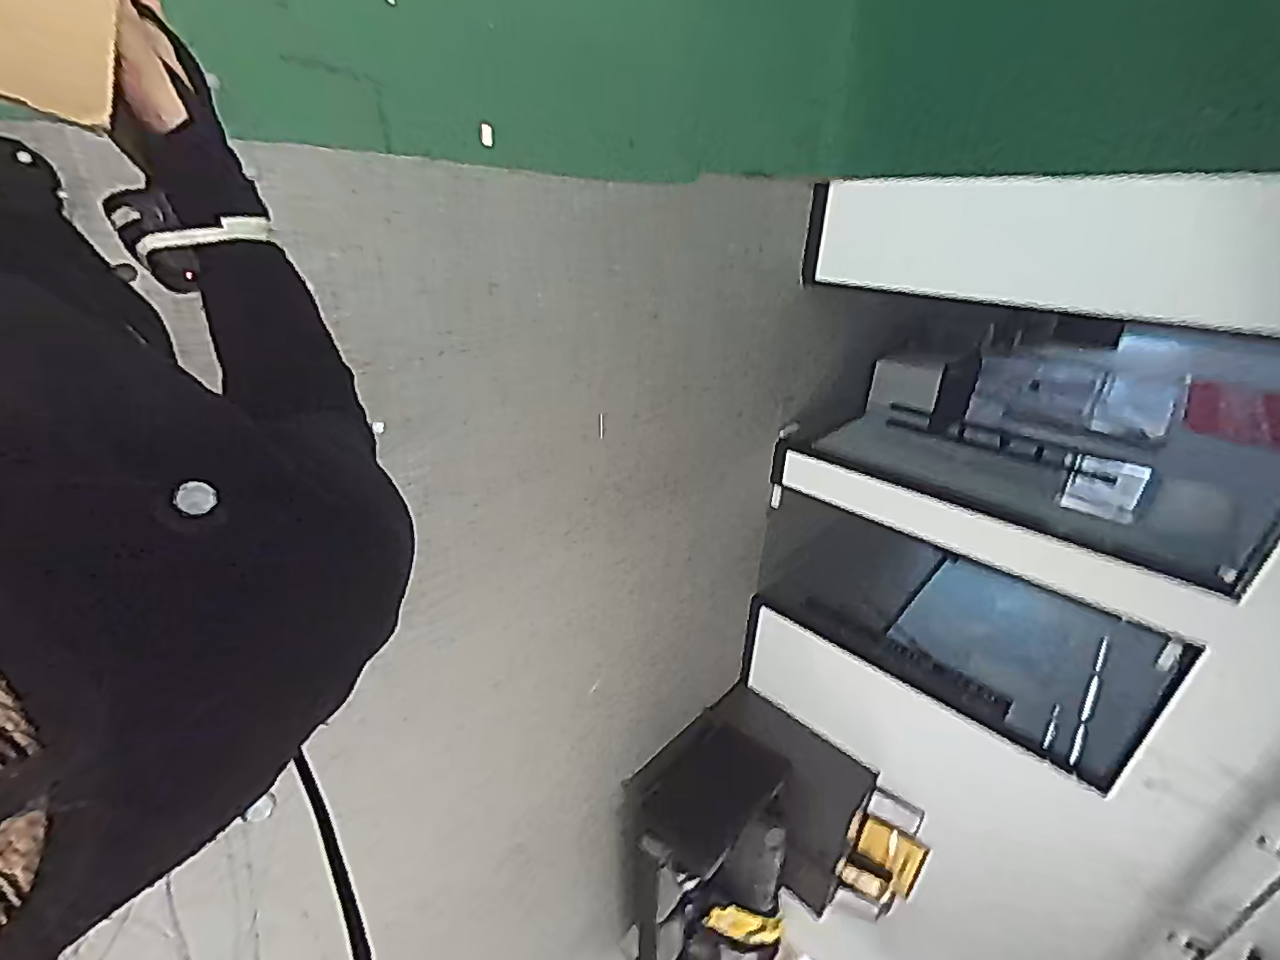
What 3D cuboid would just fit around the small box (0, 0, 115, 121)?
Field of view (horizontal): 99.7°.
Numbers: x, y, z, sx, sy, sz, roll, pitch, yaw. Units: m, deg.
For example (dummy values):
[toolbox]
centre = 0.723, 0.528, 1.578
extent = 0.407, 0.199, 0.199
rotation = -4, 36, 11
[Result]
[small box]
centre = -0.375, -0.305, 0.251
extent = 0.168, 0.176, 0.179
rotation = -4, 117, -55
